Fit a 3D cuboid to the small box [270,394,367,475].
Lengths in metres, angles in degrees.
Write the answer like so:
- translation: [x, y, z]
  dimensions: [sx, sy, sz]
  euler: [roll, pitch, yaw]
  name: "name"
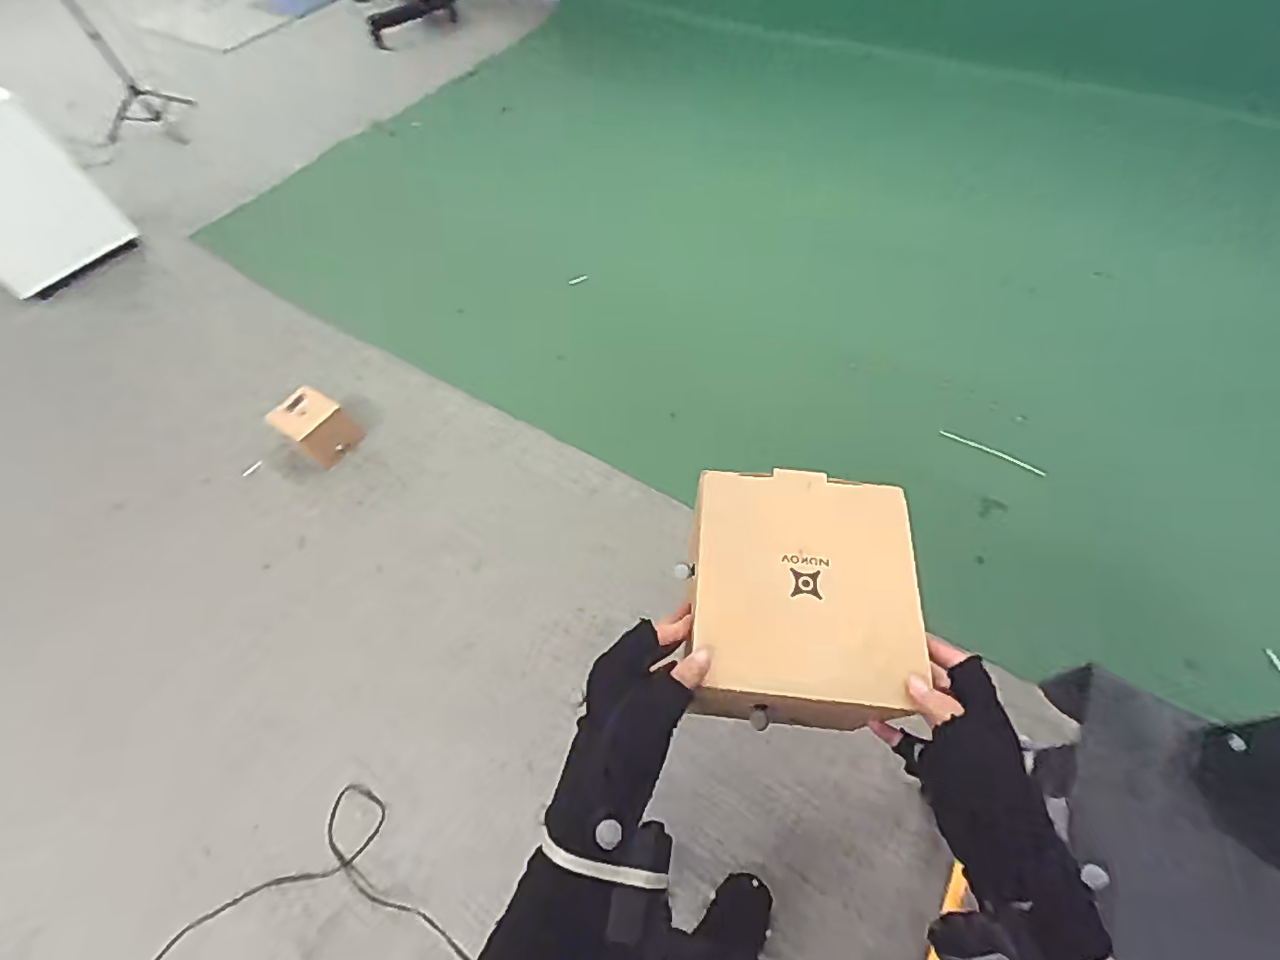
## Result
- translation: [-1.042, -0.145, 1.765]
  dimensions: [0.179, 0.176, 0.168]
  euler: [27, 63, 18]
  name: "small box"
